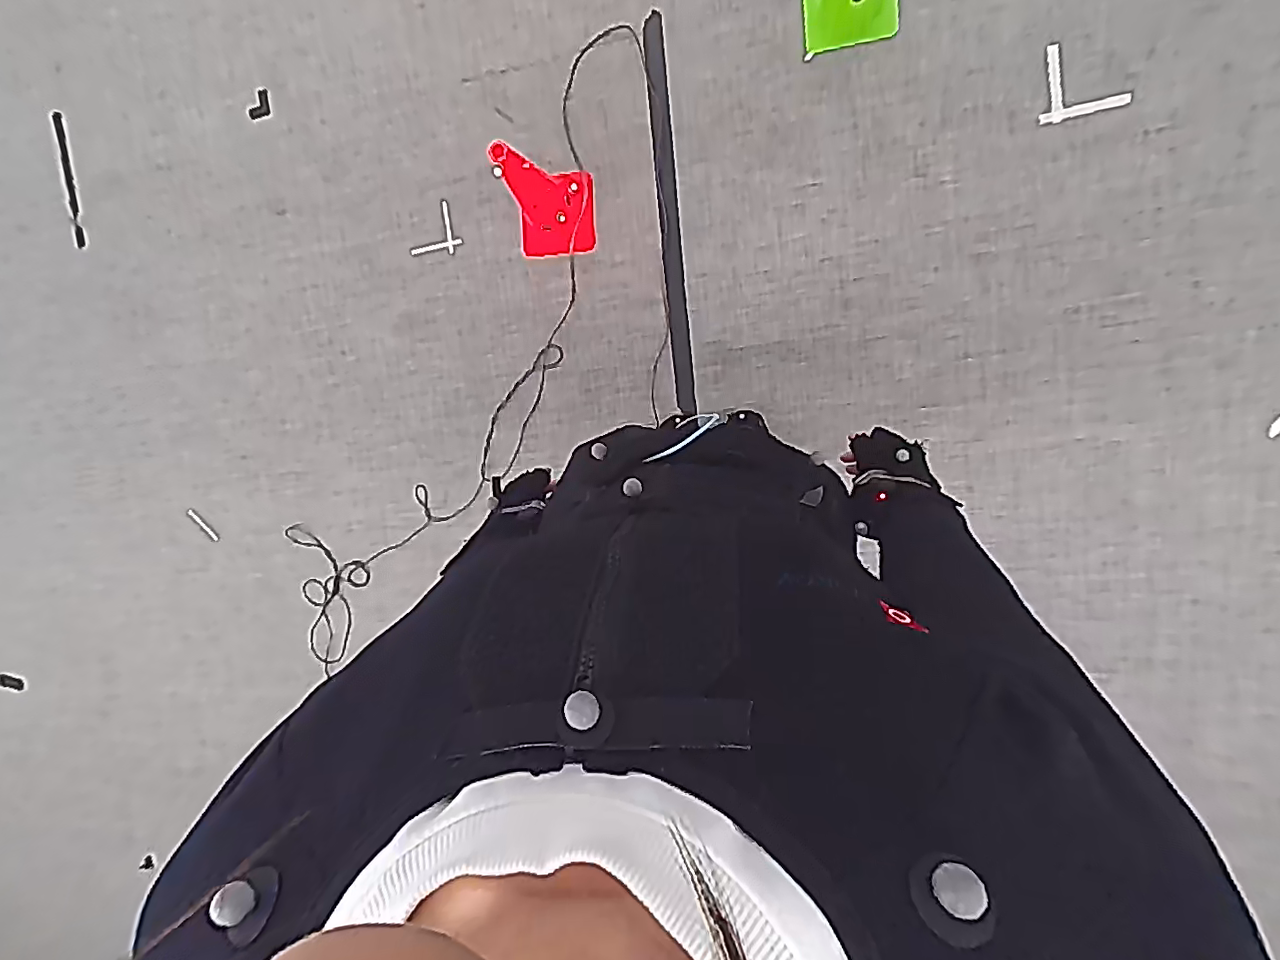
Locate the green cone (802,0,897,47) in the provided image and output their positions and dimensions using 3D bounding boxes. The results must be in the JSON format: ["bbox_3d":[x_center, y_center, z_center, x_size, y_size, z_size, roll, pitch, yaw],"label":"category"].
[{"bbox_3d":[0.435,-1.066,1.038,0.202,0.368,0.200,-5,96,10],"label":"green cone"}]

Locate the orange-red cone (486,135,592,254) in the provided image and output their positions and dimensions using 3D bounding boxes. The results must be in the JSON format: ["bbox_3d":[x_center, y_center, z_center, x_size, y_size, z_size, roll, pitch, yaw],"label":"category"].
[{"bbox_3d":[-0.252,-0.672,1.226,0.199,0.360,0.198,0,96,12],"label":"orange-red cone"}]
